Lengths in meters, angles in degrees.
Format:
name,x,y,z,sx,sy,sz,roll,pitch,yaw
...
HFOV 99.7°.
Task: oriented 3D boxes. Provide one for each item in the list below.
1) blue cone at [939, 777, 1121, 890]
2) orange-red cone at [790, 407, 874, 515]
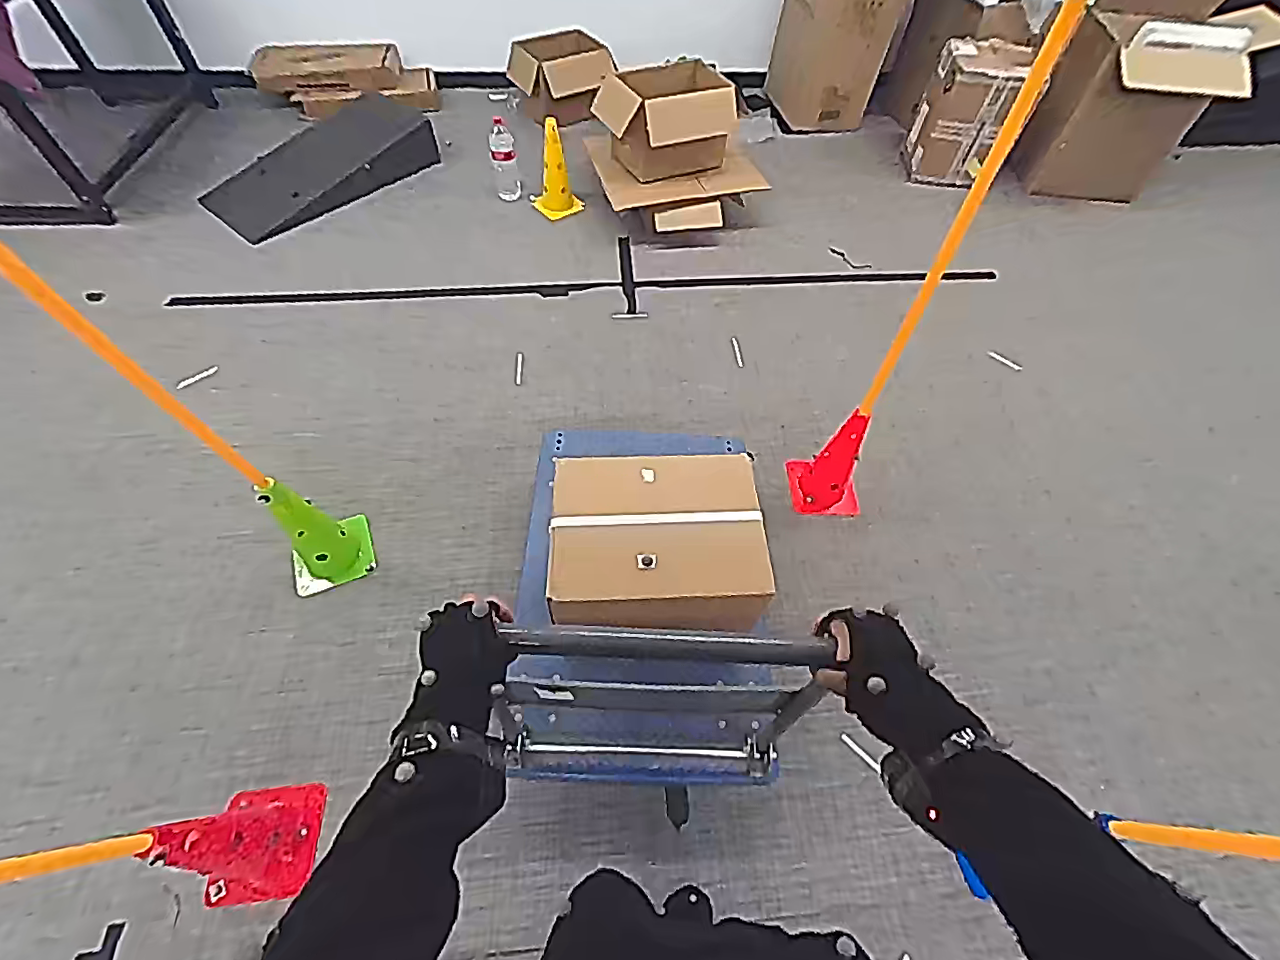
name,x,y,z,sx,sy,sz,roll,pitch,yaw
blue cone,0.776,0.672,1.043,0.193,0.380,0.192,-6,55,-7
orange-red cone,0.575,-0.075,1.523,0.199,0.360,0.198,3,56,-2
